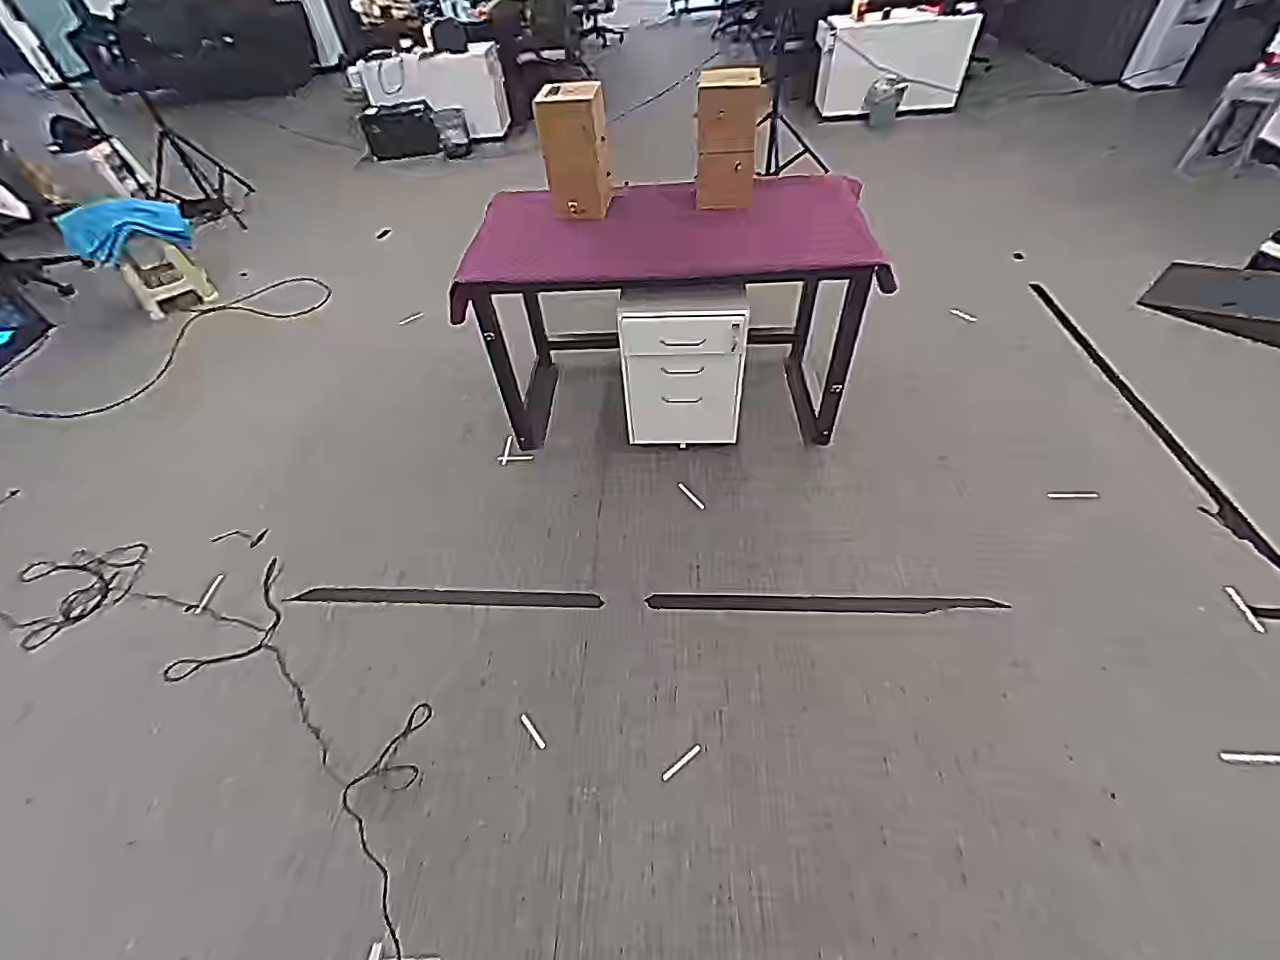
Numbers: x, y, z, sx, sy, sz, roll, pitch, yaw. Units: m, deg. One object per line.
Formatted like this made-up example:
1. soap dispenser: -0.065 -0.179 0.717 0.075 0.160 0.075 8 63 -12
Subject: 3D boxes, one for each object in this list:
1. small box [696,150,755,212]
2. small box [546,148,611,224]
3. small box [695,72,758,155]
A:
1. small box: 0.272 -0.981 1.737 0.179 0.176 0.168 1 49 7
2. small box: -0.192 -0.958 1.762 0.168 0.176 0.179 3 51 9
3. small box: 0.259 -1.089 1.614 0.179 0.176 0.168 2 50 8
